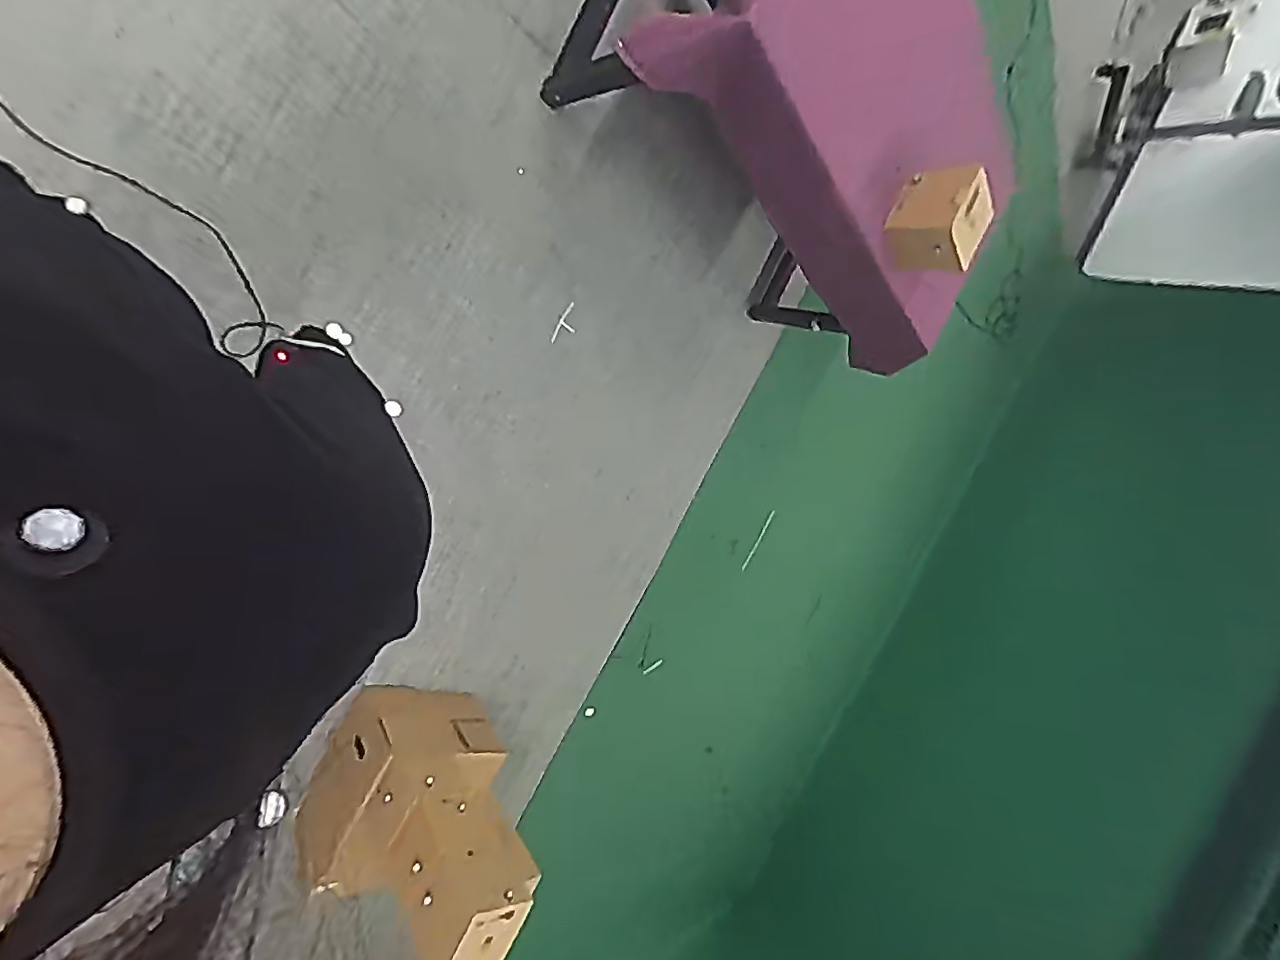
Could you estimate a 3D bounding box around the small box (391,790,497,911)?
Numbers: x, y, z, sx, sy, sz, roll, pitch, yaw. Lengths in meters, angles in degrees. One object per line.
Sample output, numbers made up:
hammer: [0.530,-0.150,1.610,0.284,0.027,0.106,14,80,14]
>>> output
small box: [-0.487,0.902,1.333,0.168,0.176,0.179,31,88,-45]

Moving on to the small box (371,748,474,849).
small box: [-0.587,0.842,1.447,0.179,0.176,0.168,31,89,-45]

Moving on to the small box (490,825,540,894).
small box: [-0.417,1.100,1.497,0.179,0.176,0.168,26,94,-47]

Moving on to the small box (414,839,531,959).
small box: [-0.384,0.956,1.217,0.168,0.176,0.179,31,89,-45]

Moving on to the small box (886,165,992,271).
small box: [0.742,-0.646,1.349,0.179,0.176,0.168,27,90,-46]
